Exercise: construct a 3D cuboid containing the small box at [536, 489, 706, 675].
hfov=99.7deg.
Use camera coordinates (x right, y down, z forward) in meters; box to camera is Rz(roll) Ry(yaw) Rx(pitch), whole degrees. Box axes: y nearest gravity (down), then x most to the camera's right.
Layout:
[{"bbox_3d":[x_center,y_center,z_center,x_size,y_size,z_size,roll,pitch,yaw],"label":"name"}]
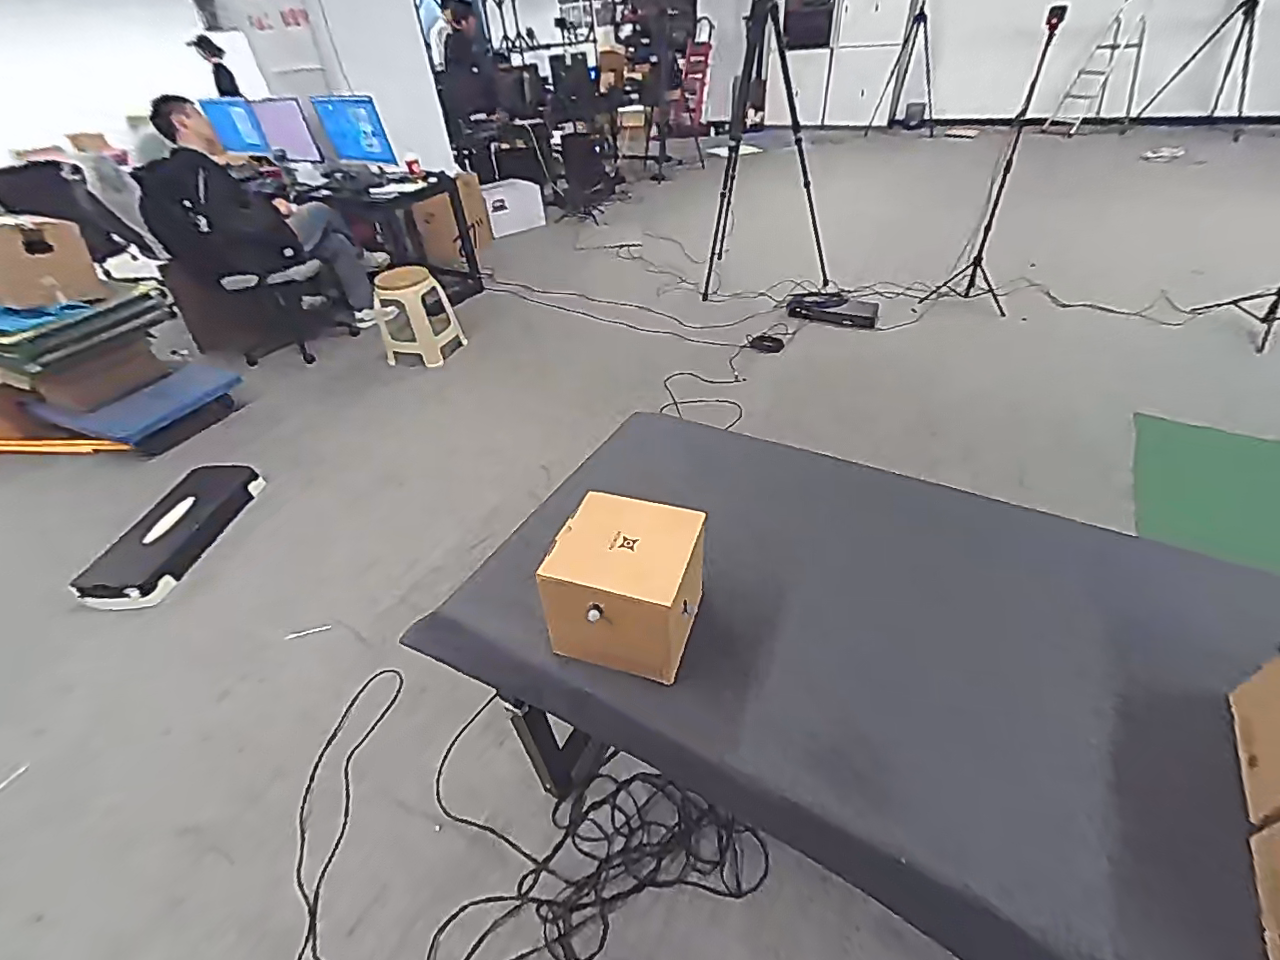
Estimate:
[{"bbox_3d":[-0.015,0.139,0.738,0.179,0.176,0.168,10,41,17],"label":"small box"}]
